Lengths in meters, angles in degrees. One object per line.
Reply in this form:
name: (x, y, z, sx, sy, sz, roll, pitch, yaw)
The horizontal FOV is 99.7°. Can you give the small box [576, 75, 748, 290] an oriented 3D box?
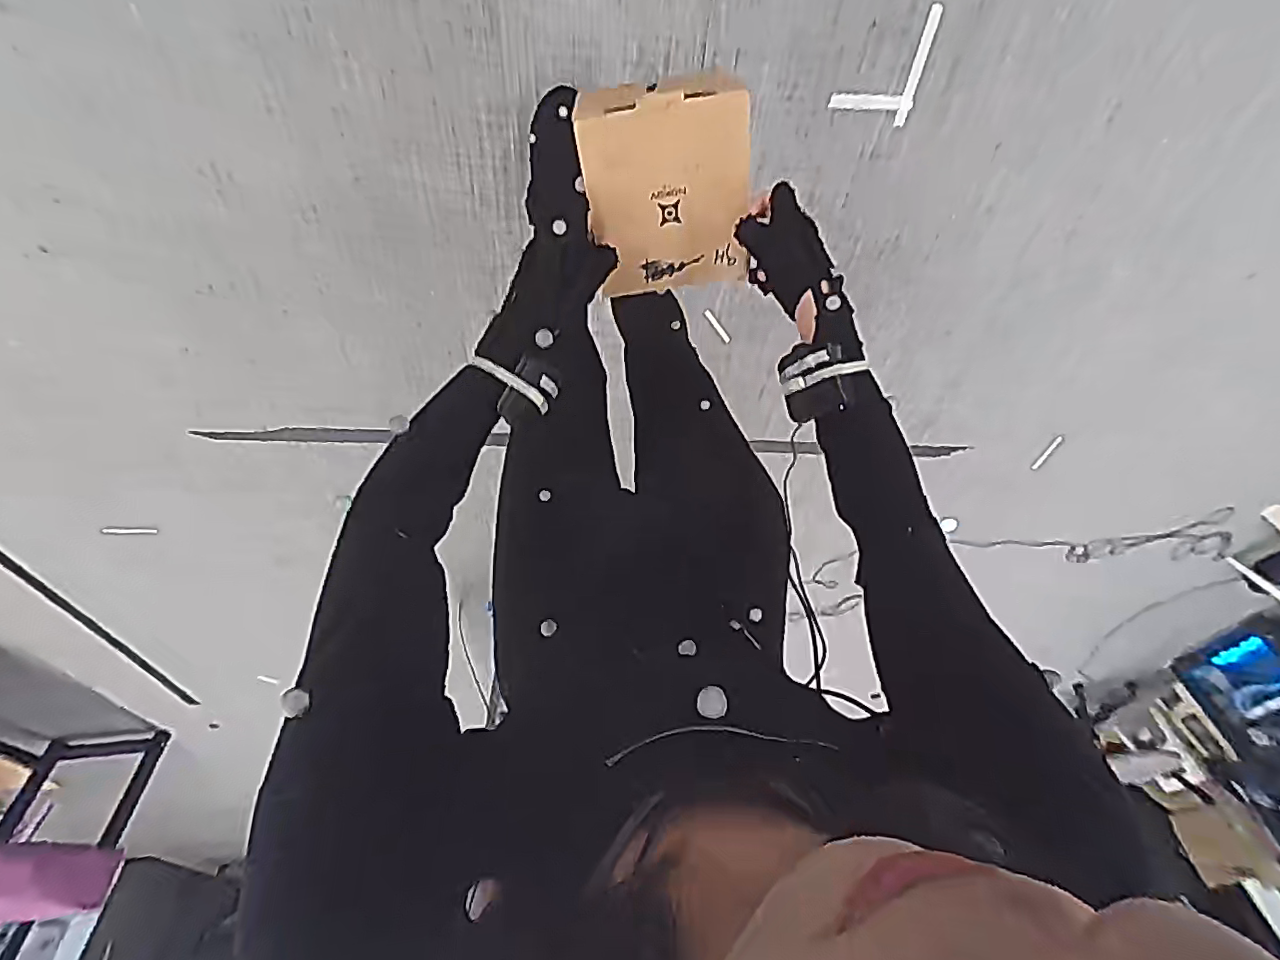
small box: (0.024, -0.341, 0.613, 0.168, 0.176, 0.179, -8, 131, 3)
